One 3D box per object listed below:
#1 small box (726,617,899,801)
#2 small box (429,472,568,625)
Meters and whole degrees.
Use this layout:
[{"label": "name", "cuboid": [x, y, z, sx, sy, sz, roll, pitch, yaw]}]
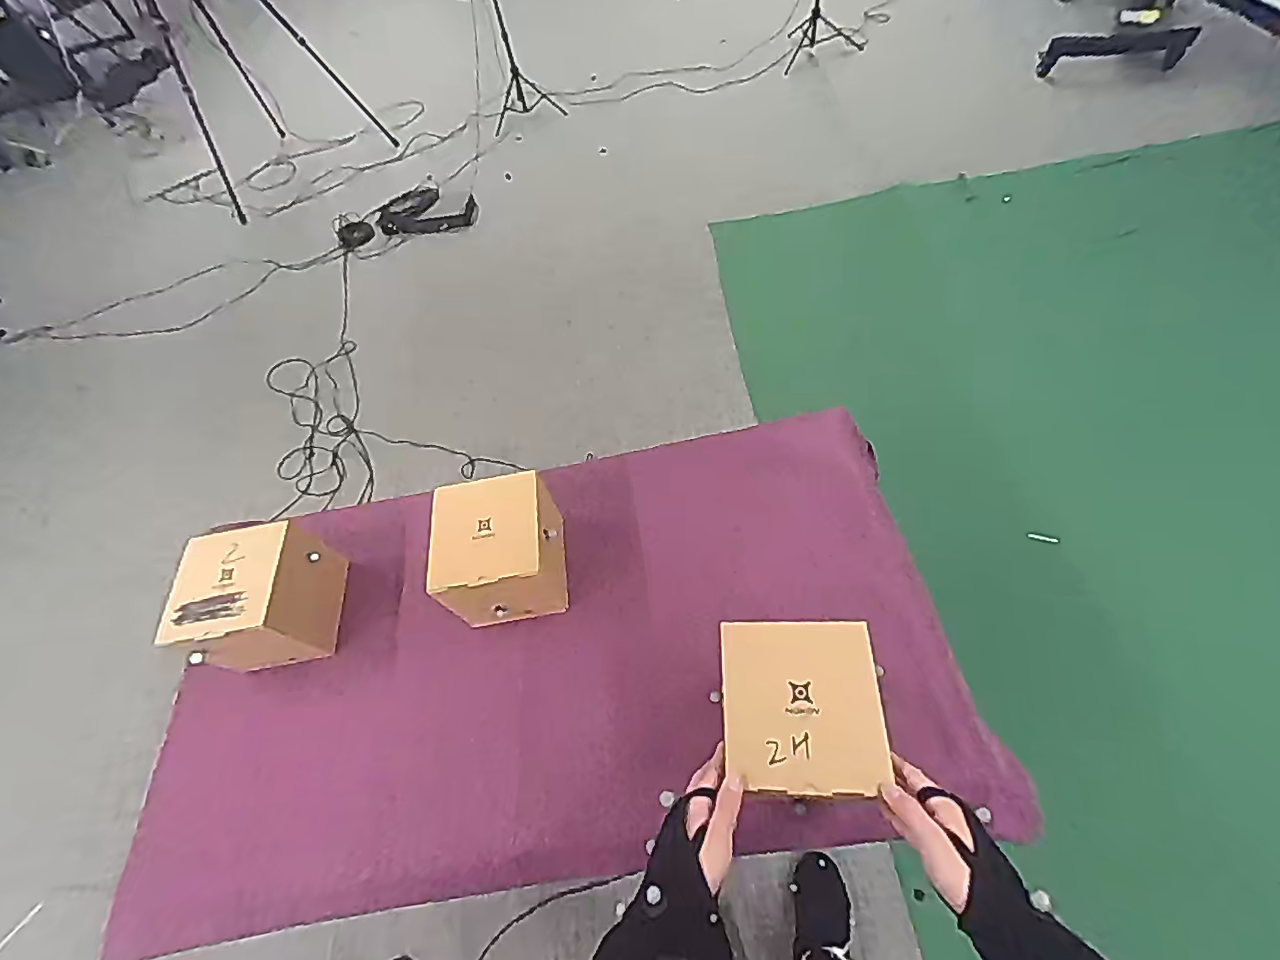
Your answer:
[{"label": "small box", "cuboid": [0.188, 0.275, 0.646, 0.168, 0.176, 0.179, -3, 58, 9]}, {"label": "small box", "cuboid": [-0.217, 0.113, 0.865, 0.168, 0.176, 0.179, -10, 58, 2]}]
